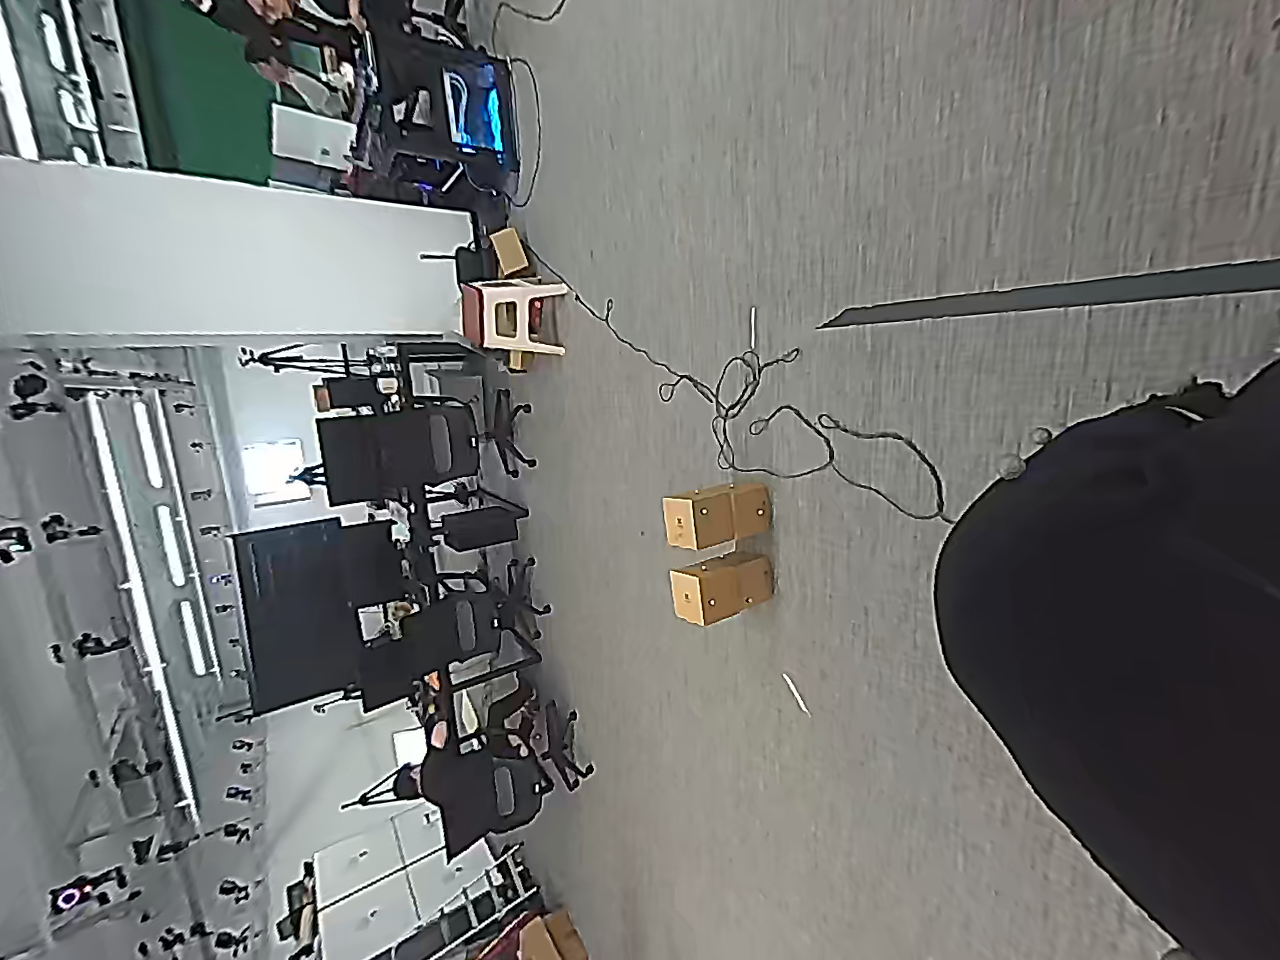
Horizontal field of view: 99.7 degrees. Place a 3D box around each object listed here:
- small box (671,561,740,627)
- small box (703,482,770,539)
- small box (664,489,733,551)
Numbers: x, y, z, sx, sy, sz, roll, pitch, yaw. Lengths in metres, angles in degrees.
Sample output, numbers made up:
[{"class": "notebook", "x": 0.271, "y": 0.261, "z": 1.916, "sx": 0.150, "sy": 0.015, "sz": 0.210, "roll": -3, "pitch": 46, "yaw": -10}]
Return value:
[{"class": "small box", "x": 0.235, "y": 0.396, "z": 1.924, "sx": 0.168, "sy": 0.176, "sz": 0.179, "roll": 1, "pitch": 101, "yaw": 57}, {"class": "small box", "x": 0.348, "y": 0.105, "z": 1.962, "sx": 0.179, "sy": 0.176, "sz": 0.168, "roll": 7, "pitch": 106, "yaw": 56}, {"class": "small box", "x": 0.206, "y": 0.132, "z": 1.882, "sx": 0.168, "sy": 0.176, "sz": 0.179, "roll": 4, "pitch": 103, "yaw": 57}]
